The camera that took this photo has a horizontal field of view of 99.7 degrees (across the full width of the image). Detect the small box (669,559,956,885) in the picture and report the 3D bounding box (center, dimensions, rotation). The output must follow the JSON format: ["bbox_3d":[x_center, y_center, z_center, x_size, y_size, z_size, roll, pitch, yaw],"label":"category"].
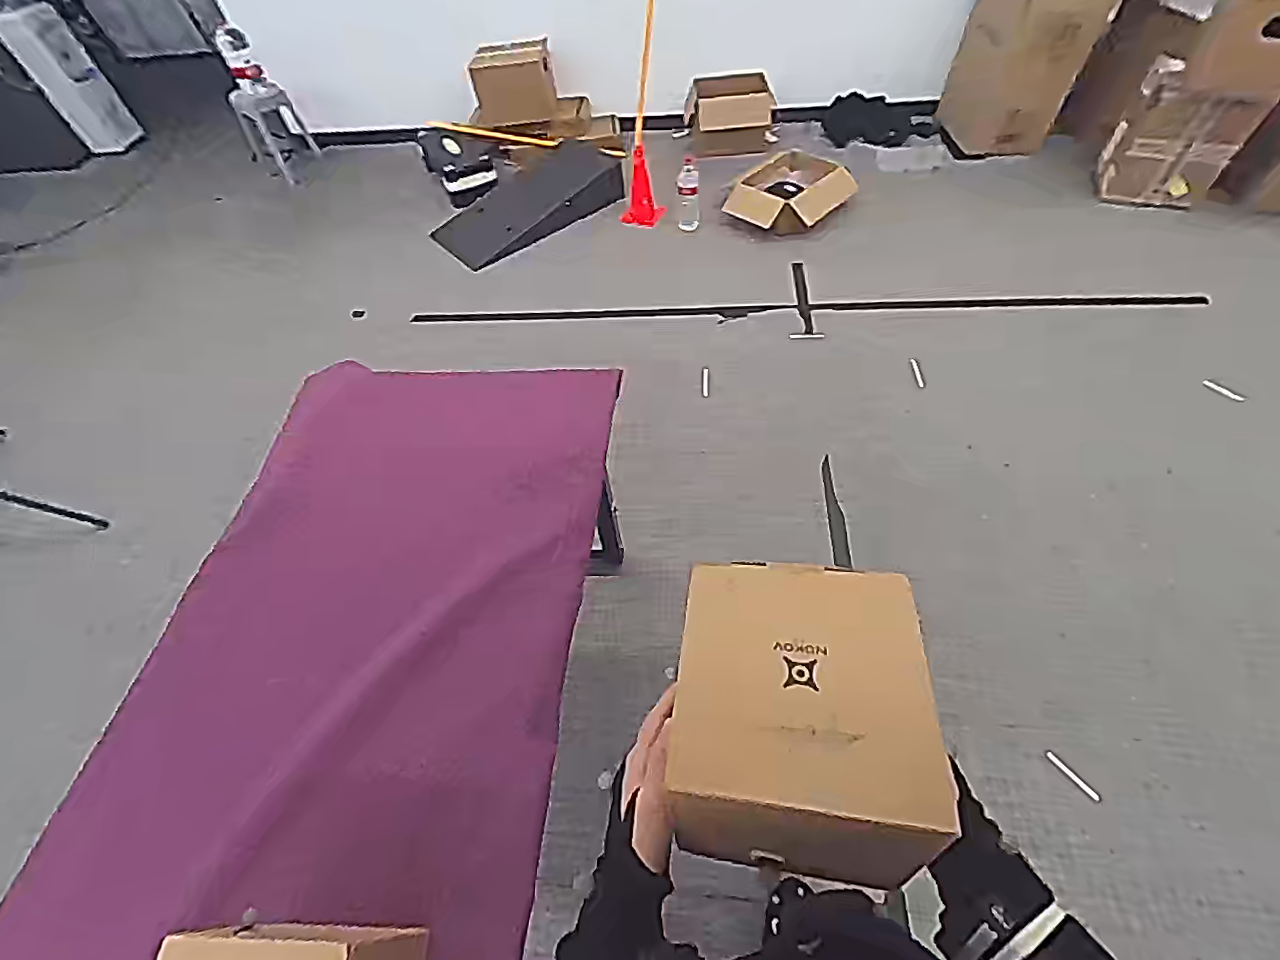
[{"bbox_3d":[0.120,0.187,0.429,0.168,0.176,0.179,2,45,12],"label":"small box"}]

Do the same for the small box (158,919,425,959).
[{"bbox_3d":[-0.326,0.509,0.487,0.179,0.176,0.168,-2,54,4],"label":"small box"}]
